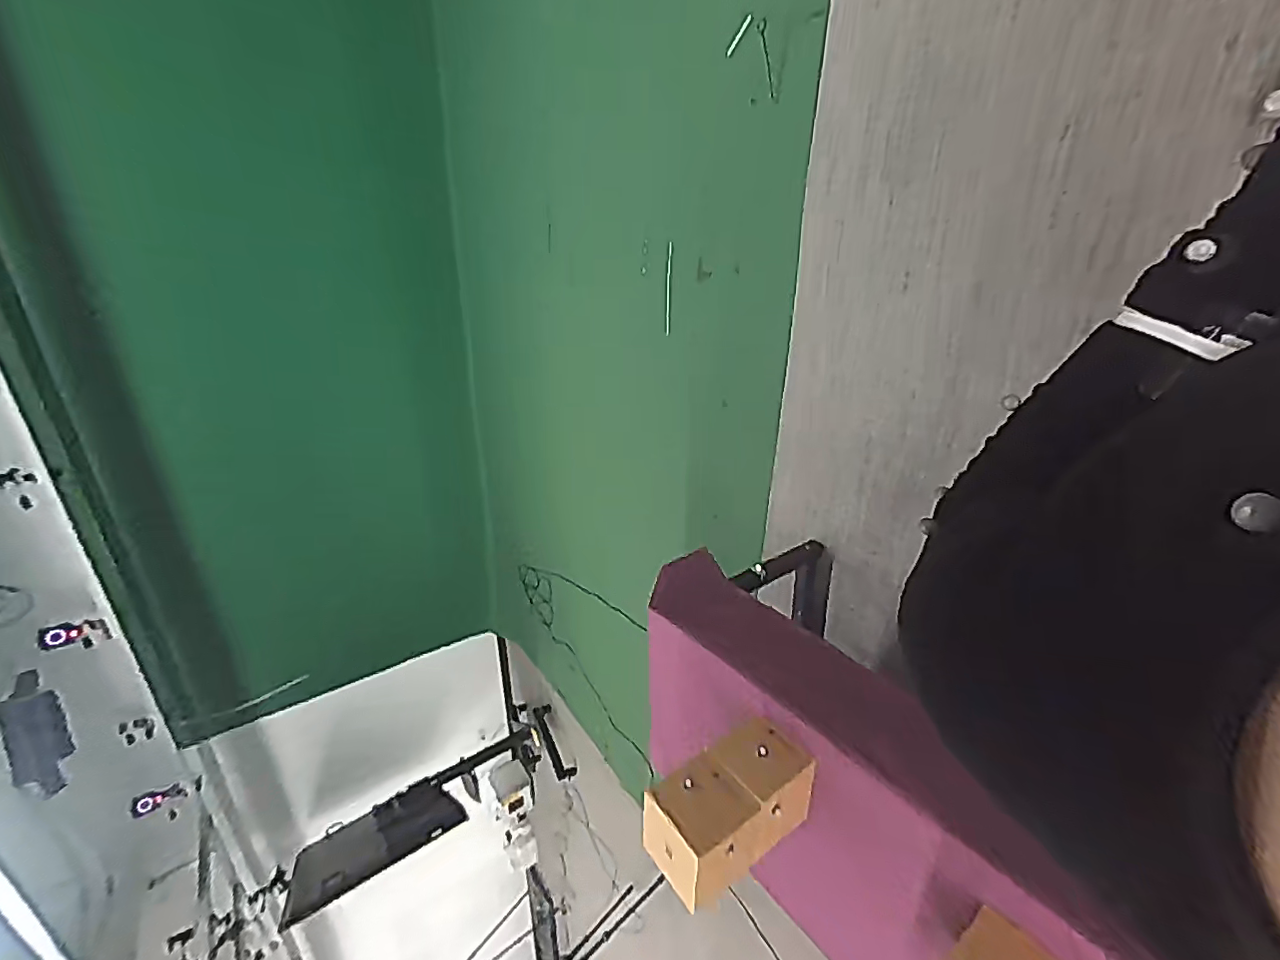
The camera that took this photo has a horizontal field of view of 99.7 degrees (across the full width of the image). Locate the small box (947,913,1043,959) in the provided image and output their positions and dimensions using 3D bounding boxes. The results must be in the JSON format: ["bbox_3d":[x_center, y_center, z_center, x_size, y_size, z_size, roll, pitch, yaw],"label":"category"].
[{"bbox_3d":[0.545,0.809,0.797,0.179,0.176,0.168,25,123,51],"label":"small box"}]

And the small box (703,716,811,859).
[{"bbox_3d":[0.249,0.655,1.175,0.168,0.176,0.179,28,125,49],"label":"small box"}]

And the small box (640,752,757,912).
[{"bbox_3d":[0.117,0.694,1.088,0.168,0.176,0.179,31,127,48],"label":"small box"}]
